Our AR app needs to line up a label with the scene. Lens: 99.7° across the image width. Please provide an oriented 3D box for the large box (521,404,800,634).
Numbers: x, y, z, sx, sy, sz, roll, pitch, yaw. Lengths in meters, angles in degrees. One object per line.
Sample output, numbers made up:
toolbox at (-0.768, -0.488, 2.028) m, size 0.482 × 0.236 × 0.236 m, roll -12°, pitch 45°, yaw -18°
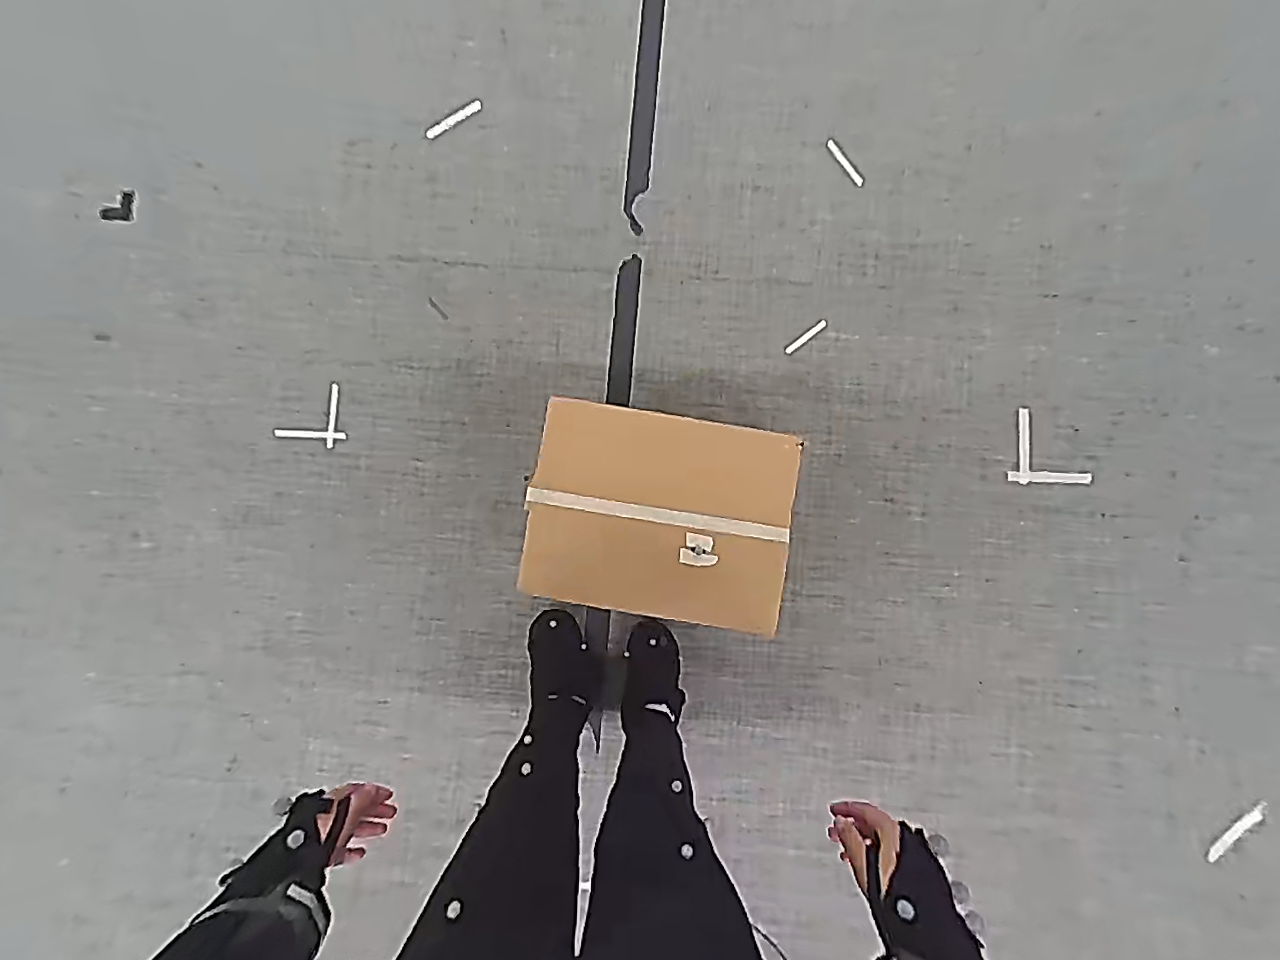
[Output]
large box at (0.030, 0.069, 0.986) m, size 0.408 × 0.320 × 0.320 m, roll 9°, pitch 87°, yaw 0°
